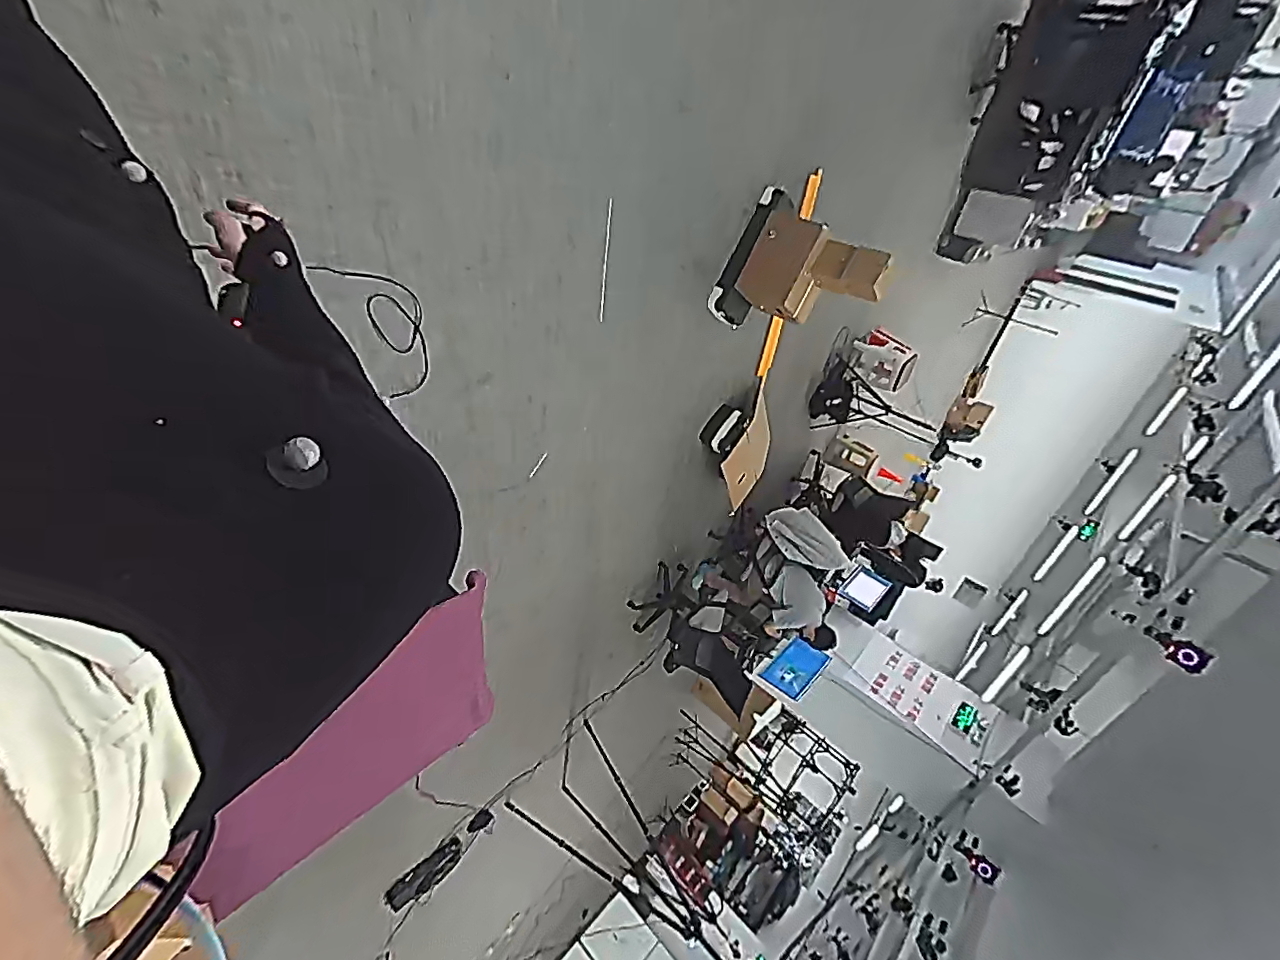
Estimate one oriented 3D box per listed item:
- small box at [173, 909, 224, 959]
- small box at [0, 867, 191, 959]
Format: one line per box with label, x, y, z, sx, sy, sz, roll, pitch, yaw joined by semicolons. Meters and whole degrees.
small box;-1.011;1.033;1.104;0.168;0.176;0.179;-51;149;-11
small box;-0.981;0.840;0.975;0.168;0.176;0.179;-43;148;-24
